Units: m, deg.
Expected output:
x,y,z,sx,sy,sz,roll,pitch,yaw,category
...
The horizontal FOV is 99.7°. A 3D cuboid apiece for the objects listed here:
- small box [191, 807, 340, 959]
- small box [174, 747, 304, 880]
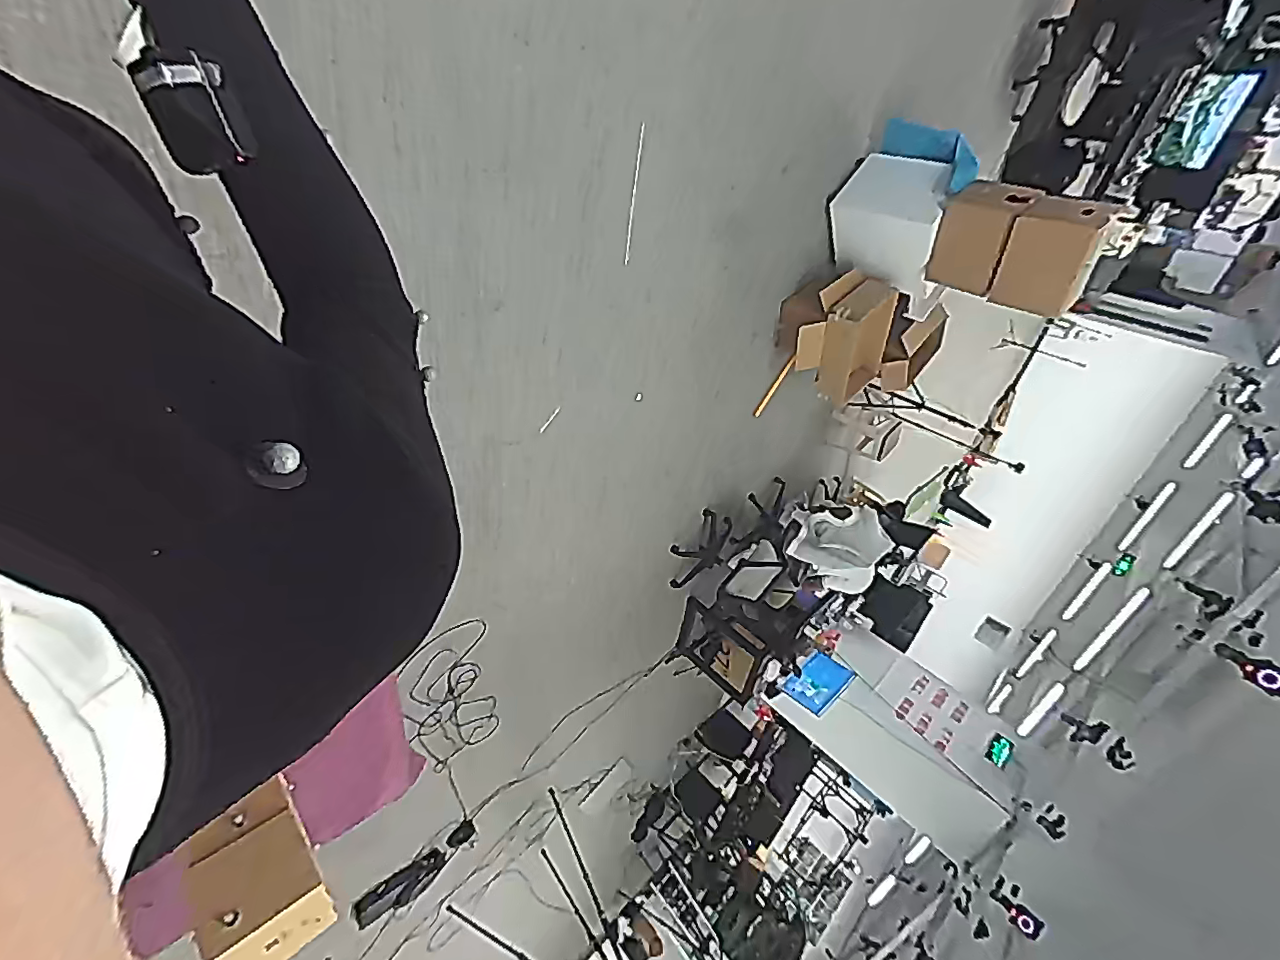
x,y,z,sx,sy,sz,roll,pitch,yaw,category
-0.679,0.751,0.982,0.179,0.176,0.168,-23,135,-40,small box
-0.795,0.685,1.082,0.179,0.176,0.168,-25,136,-39,small box
